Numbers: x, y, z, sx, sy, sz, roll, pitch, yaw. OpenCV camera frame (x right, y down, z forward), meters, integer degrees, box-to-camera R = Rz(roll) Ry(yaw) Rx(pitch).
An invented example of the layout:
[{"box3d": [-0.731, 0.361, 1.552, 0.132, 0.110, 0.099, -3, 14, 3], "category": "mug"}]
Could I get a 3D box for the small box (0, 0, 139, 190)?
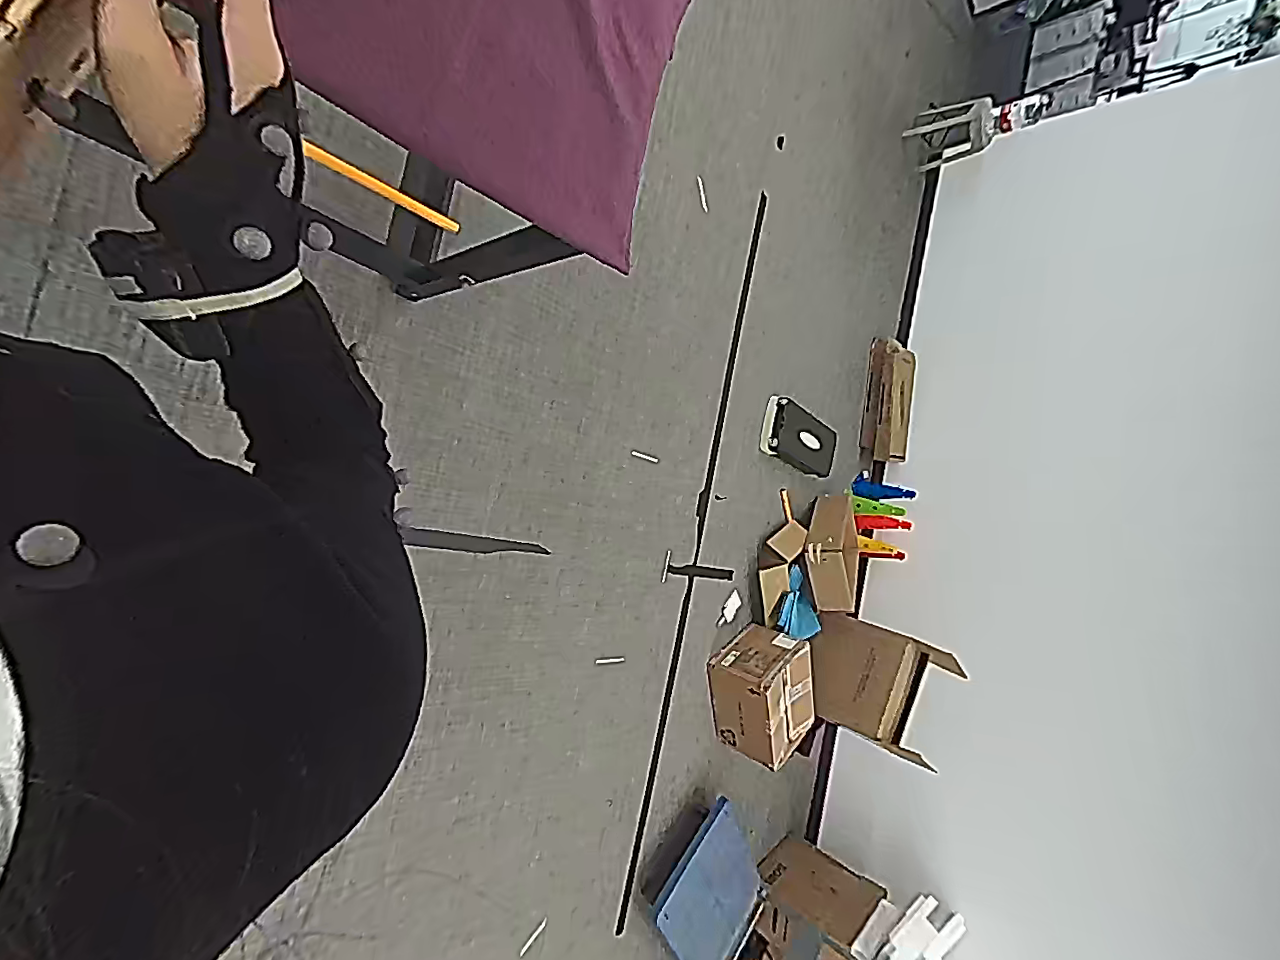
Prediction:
[{"box3d": [-0.314, -0.226, 0.186, 0.179, 0.176, 0.168, 35, 75, -47], "category": "small box"}]
